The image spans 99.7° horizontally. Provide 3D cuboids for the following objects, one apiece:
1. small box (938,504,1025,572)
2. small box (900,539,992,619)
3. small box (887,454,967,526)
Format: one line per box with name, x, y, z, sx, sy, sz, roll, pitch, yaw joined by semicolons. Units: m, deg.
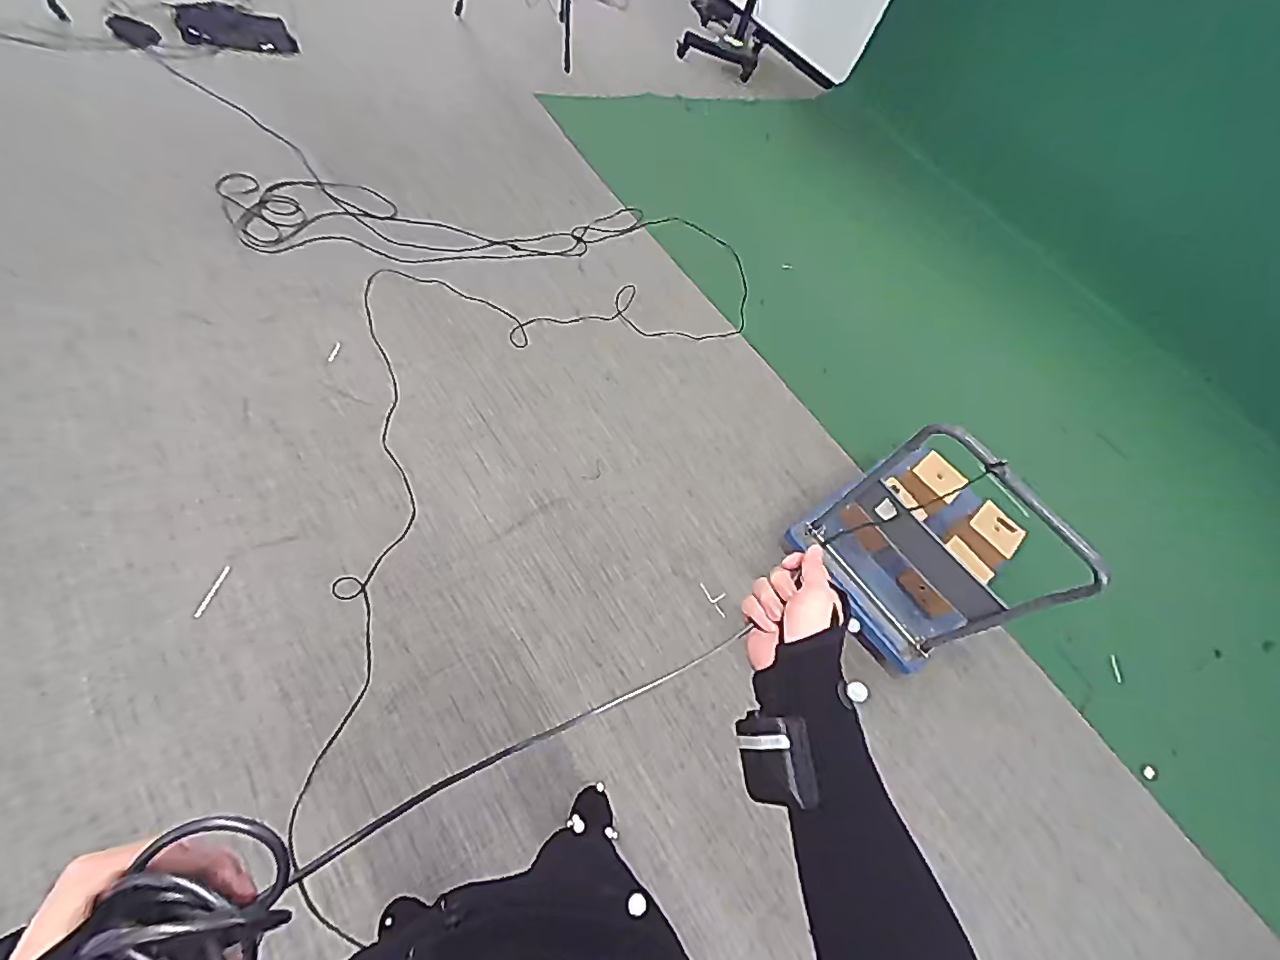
small box;1.206;0.222;1.920;0.179;0.176;0.168;-32;72;-31
small box;1.000;0.329;1.782;0.179;0.176;0.168;-27;70;-30
small box;1.043;0.040;1.984;0.179;0.176;0.168;-32;73;-32
